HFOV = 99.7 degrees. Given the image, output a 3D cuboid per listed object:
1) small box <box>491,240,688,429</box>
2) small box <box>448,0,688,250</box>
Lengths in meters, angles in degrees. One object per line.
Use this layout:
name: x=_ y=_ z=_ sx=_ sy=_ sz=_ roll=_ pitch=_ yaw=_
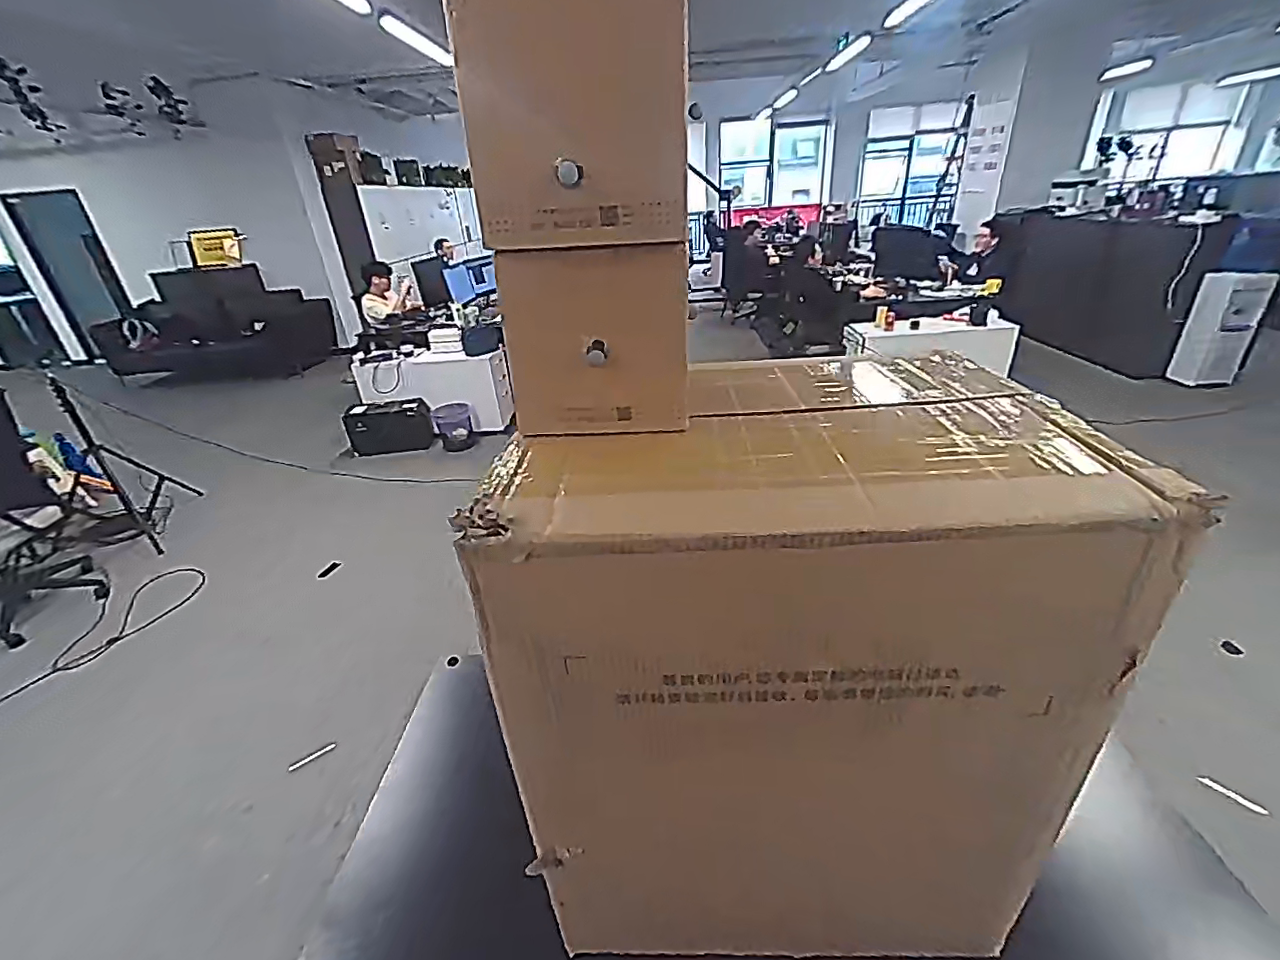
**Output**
small box: x=-0.037 y=-0.157 z=0.557 sx=0.168 sy=0.176 sz=0.179 roll=-2 pitch=28 yaw=3
small box: x=-0.043 y=-0.296 z=0.466 sx=0.168 sy=0.176 sz=0.179 roll=-1 pitch=28 yaw=4
